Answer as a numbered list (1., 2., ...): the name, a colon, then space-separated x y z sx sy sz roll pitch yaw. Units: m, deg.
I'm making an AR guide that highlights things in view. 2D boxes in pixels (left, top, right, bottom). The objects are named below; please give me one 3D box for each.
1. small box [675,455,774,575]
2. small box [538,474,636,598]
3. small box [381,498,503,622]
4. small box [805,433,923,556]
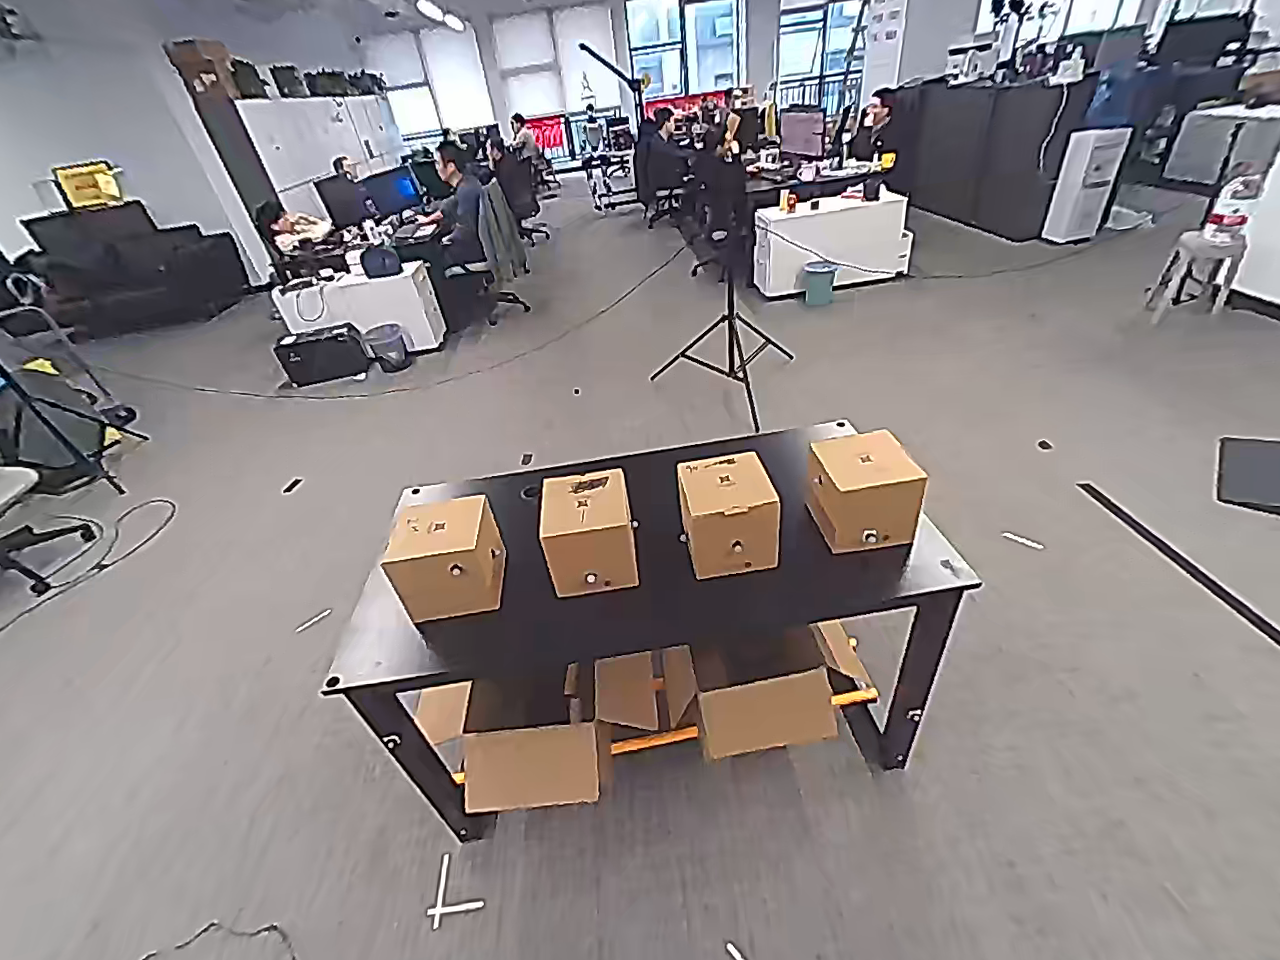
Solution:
1. small box: 0.170 0.076 1.097 0.168 0.176 0.179 -9 36 0
2. small box: -0.104 0.113 1.101 0.168 0.176 0.179 -9 36 0
3. small box: -0.384 0.161 1.090 0.179 0.176 0.168 -9 36 -2
4. small box: 0.444 0.029 1.104 0.168 0.176 0.179 -10 36 1
